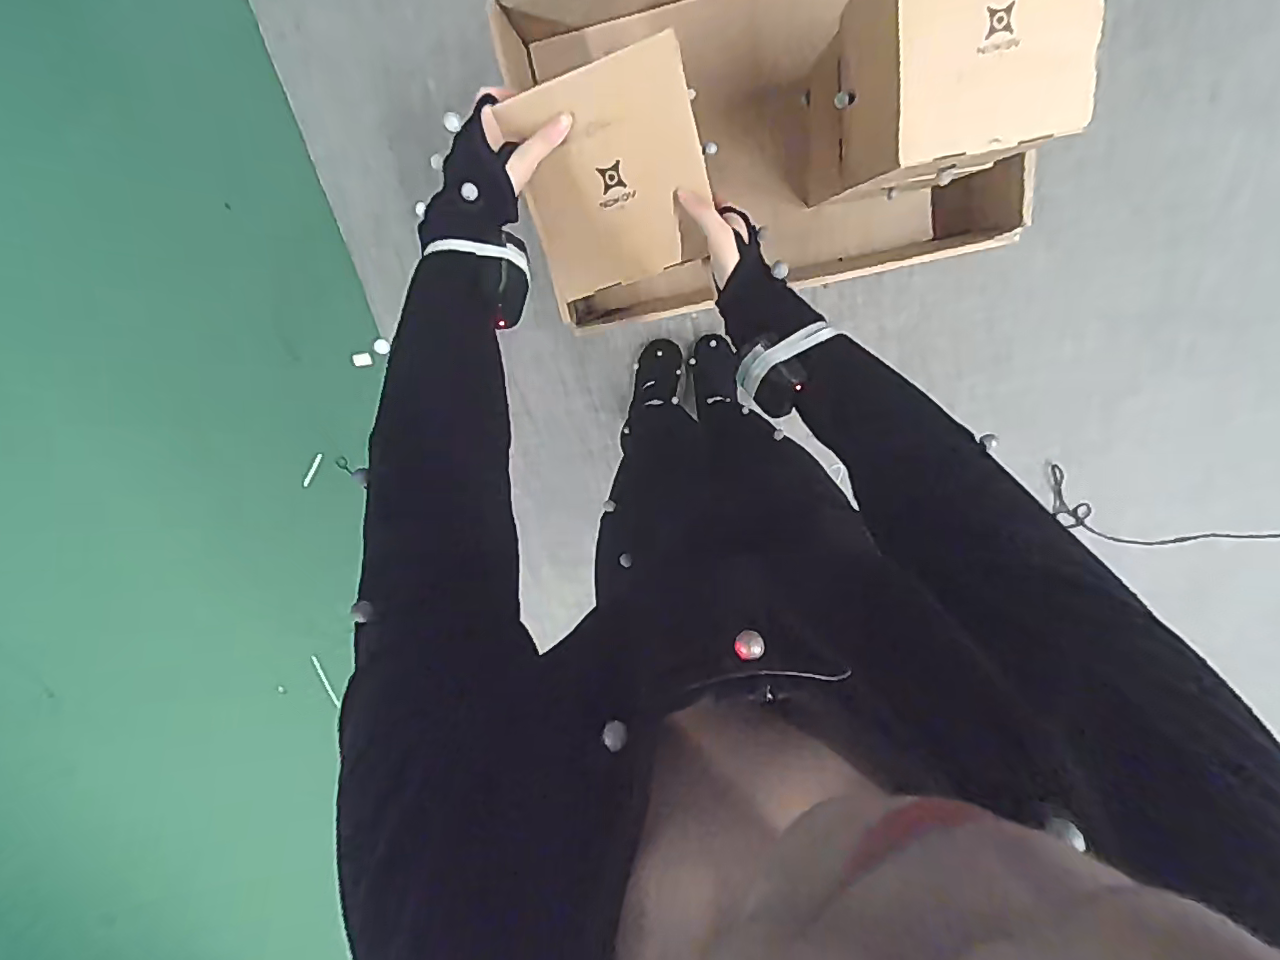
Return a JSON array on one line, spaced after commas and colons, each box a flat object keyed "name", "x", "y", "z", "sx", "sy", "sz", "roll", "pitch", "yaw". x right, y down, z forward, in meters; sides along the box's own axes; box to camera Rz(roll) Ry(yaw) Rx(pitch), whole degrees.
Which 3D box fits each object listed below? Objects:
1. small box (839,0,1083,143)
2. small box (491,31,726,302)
[{"name": "small box", "x": 0.310, "y": -0.462, "z": 0.548, "sx": 0.168, "sy": 0.176, "sz": 0.179, "roll": -4, "pitch": 108, "yaw": 5}, {"name": "small box", "x": -0.013, "y": -0.309, "z": 0.535, "sx": 0.168, "sy": 0.176, "sz": 0.179, "roll": -12, "pitch": 127, "yaw": 16}]
